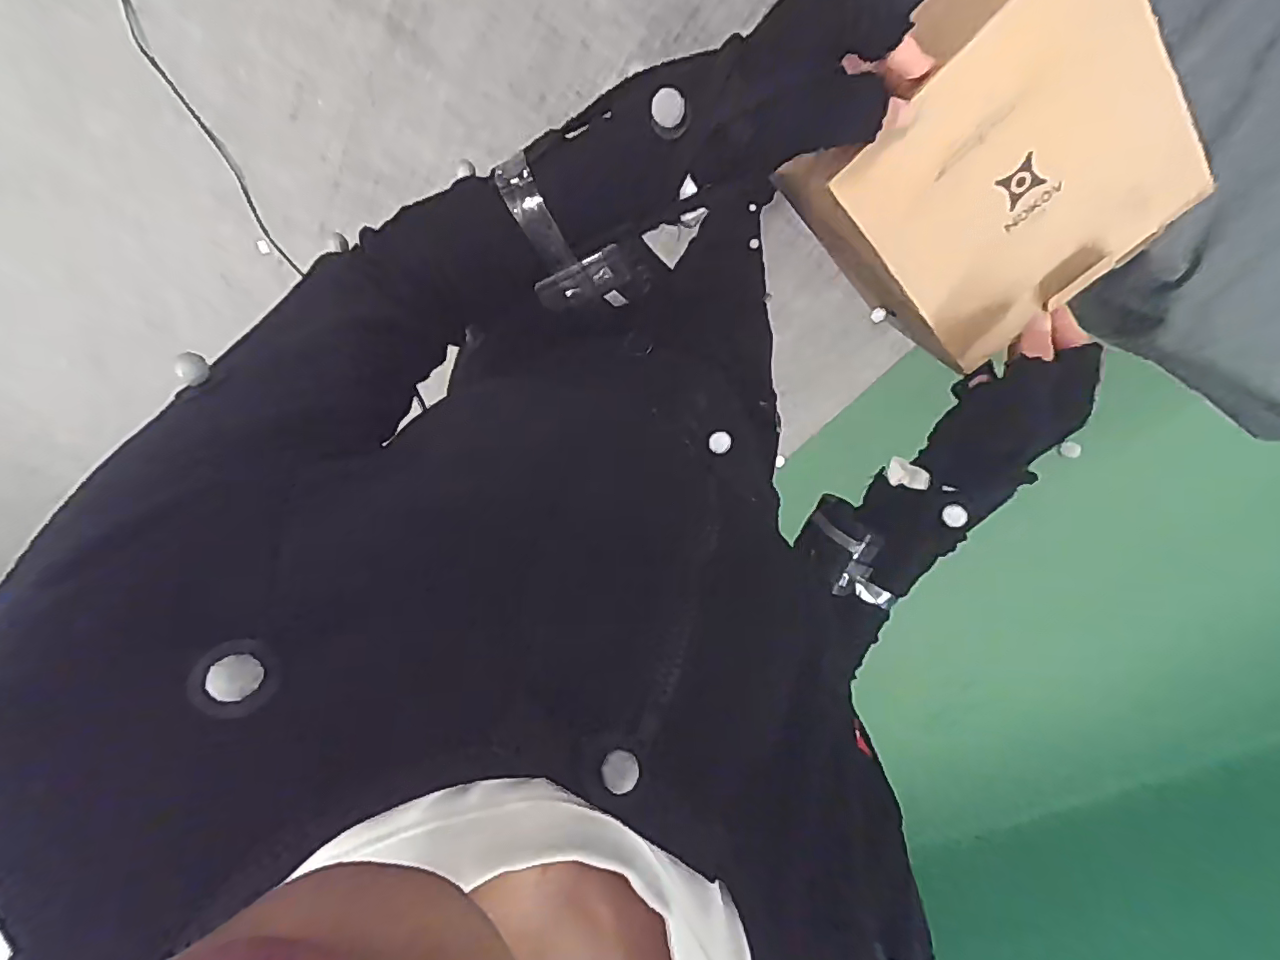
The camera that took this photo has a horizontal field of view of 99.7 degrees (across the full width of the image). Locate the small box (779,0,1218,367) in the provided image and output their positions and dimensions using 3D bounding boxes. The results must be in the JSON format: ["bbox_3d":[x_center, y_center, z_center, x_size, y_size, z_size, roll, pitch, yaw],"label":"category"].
[{"bbox_3d":[0.231,-0.220,0.391,0.179,0.176,0.168,38,112,-22],"label":"small box"}]
